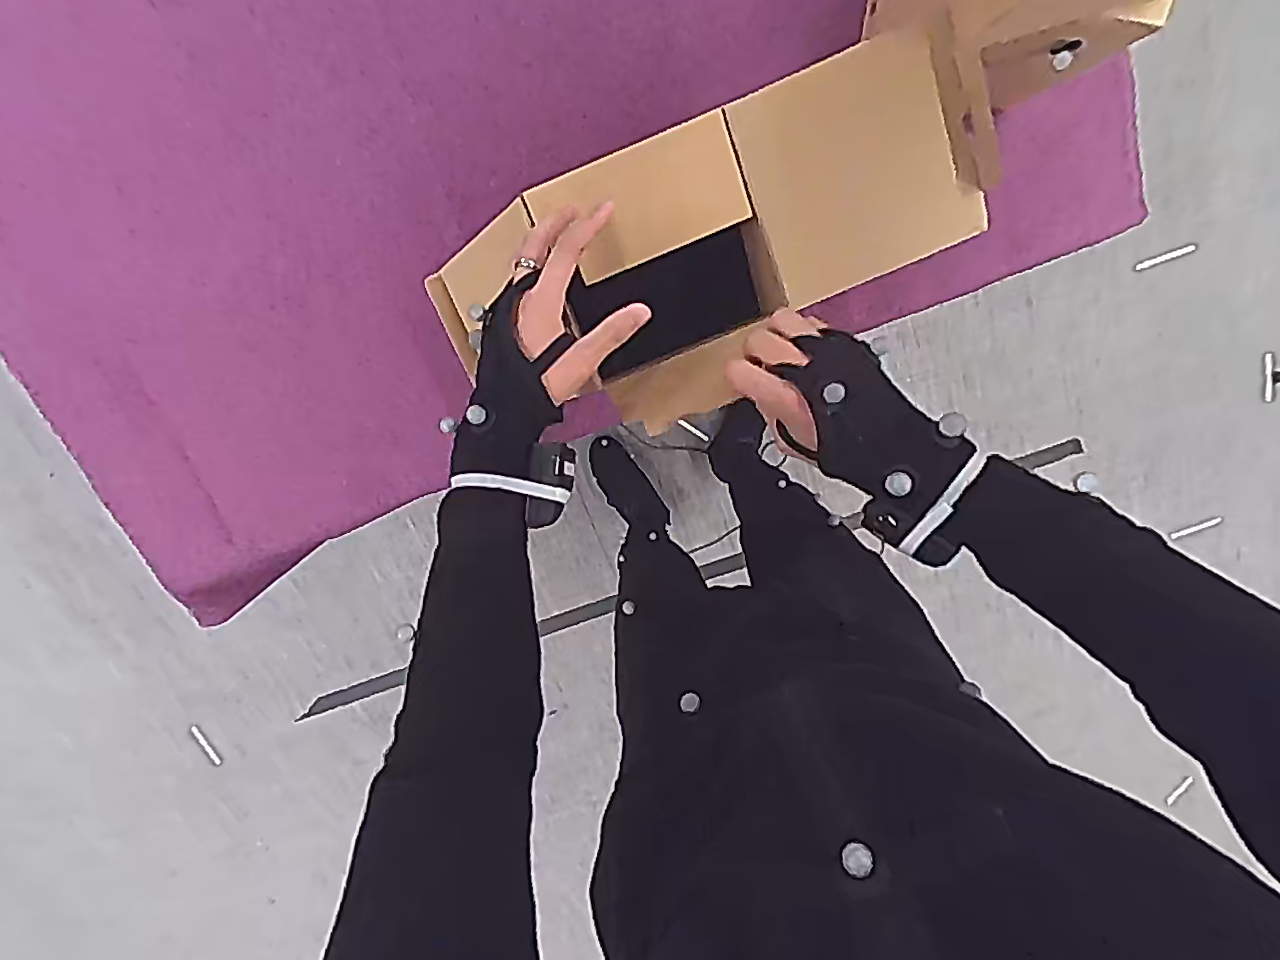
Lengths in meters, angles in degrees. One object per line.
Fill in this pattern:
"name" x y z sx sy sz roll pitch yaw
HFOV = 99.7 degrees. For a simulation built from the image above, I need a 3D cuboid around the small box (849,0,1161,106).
"small box" 0.311 -0.450 0.463 0.179 0.176 0.168 4 105 -5
